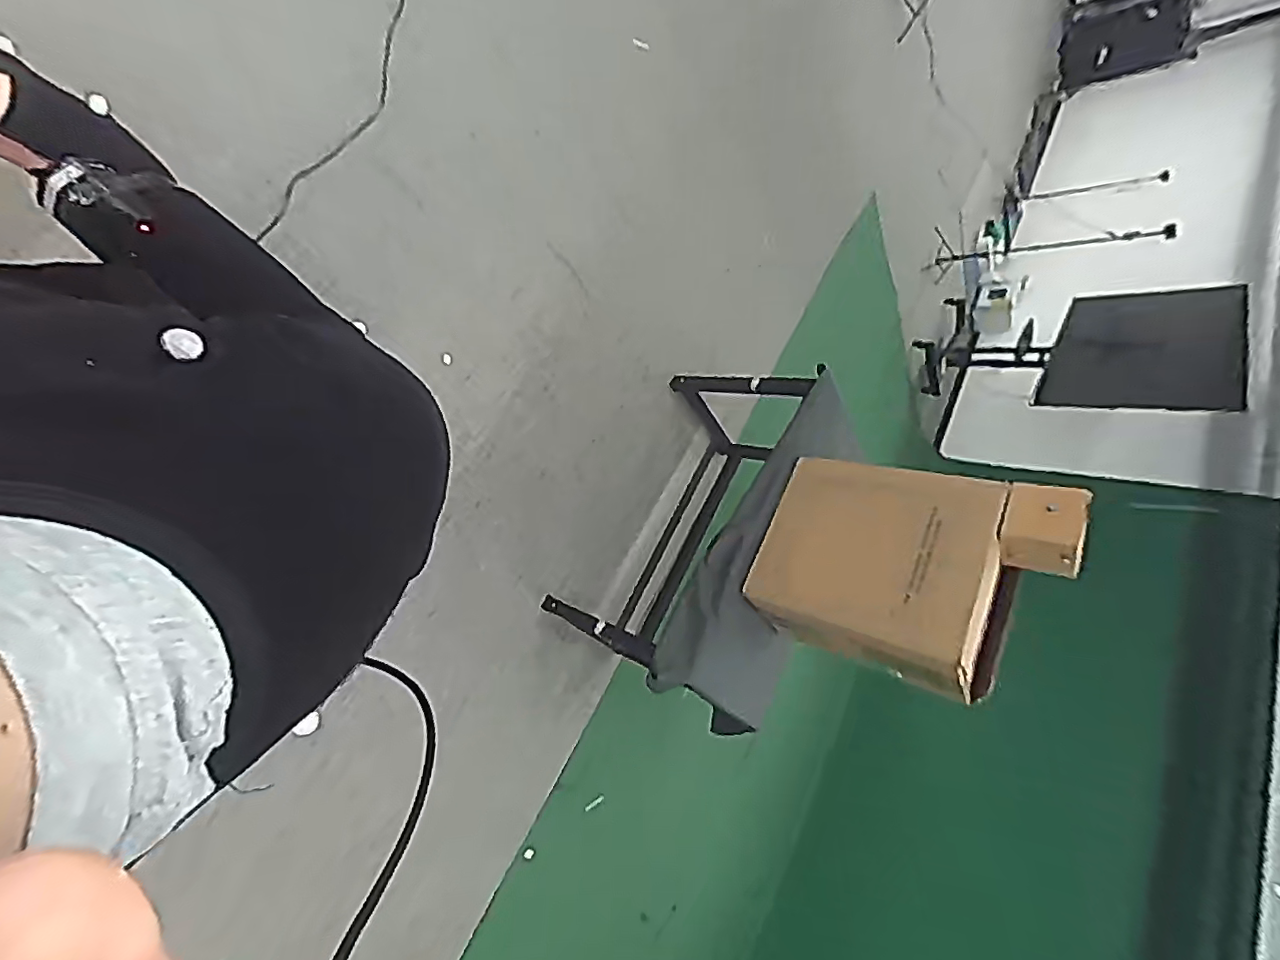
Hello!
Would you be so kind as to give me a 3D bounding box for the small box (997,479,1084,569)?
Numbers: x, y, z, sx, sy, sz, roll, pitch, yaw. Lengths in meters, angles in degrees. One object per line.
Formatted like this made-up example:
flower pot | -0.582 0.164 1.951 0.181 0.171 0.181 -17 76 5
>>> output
small box | 1.084 0.113 1.470 0.168 0.176 0.179 50 60 -40
